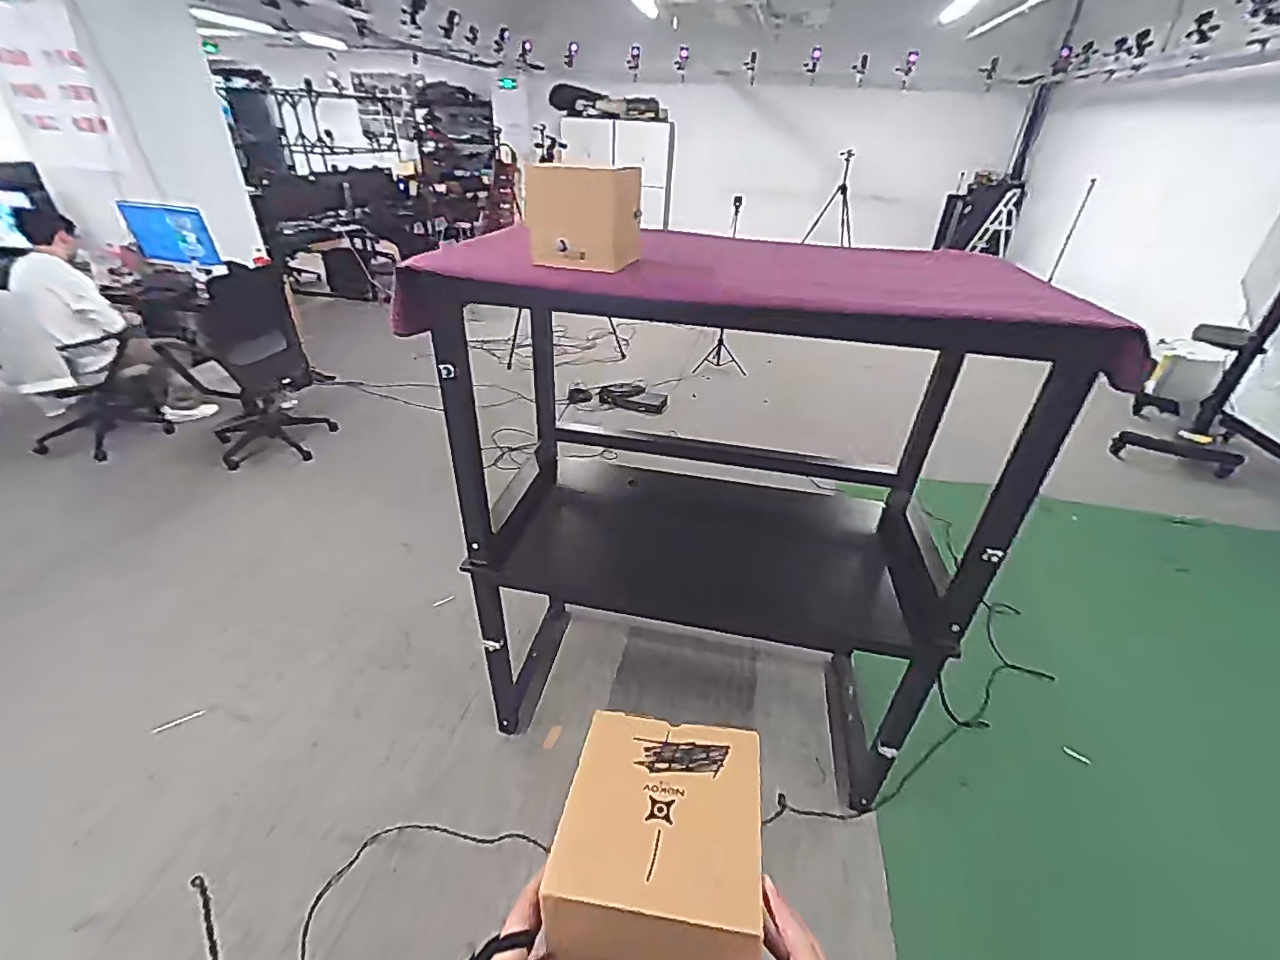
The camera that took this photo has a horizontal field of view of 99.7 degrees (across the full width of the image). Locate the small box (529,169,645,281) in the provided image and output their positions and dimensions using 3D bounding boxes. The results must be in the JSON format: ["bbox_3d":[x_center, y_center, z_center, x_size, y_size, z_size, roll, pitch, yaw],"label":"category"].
[{"bbox_3d":[-0.095,-0.484,1.020,0.168,0.176,0.179,10,32,12],"label":"small box"}]

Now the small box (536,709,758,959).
[{"bbox_3d":[0.018,0.349,0.495,0.168,0.176,0.179,3,24,11],"label":"small box"}]
